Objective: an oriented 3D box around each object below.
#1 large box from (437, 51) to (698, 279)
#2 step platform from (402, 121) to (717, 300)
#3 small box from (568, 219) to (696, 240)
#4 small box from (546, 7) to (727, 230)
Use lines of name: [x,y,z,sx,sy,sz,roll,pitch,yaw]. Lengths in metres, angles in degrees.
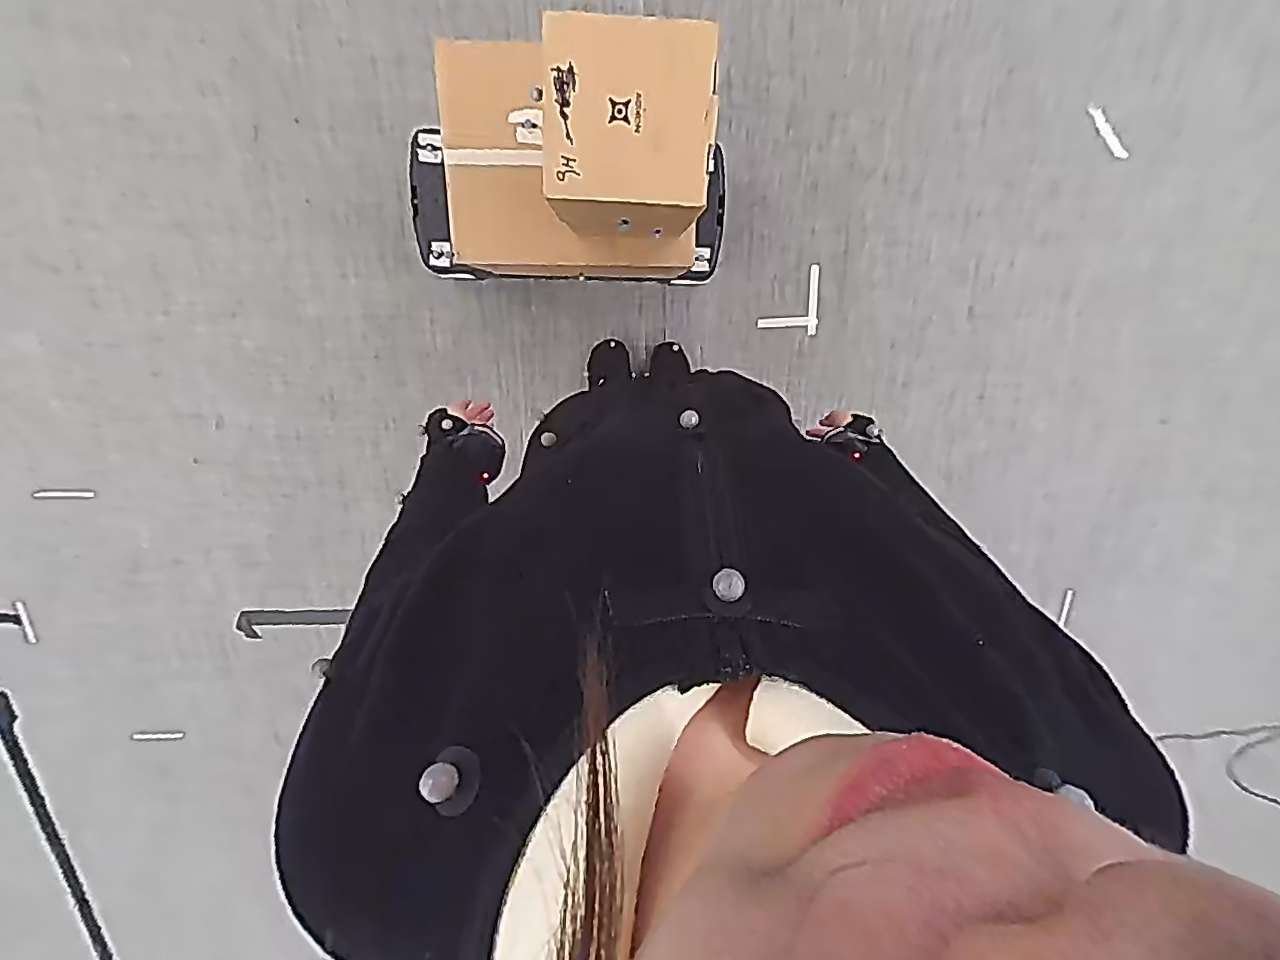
large box: [-0.107,-0.540,0.995,0.408,0.320,0.320,0,106,-1]
step platform: [-0.170,-0.592,1.226,0.684,0.204,0.286,5,107,-3]
small box: [-0.013,-0.444,0.773,0.179,0.176,0.168,0,107,-2]
small box: [-0.011,-0.390,0.618,0.179,0.176,0.168,2,106,-4]
